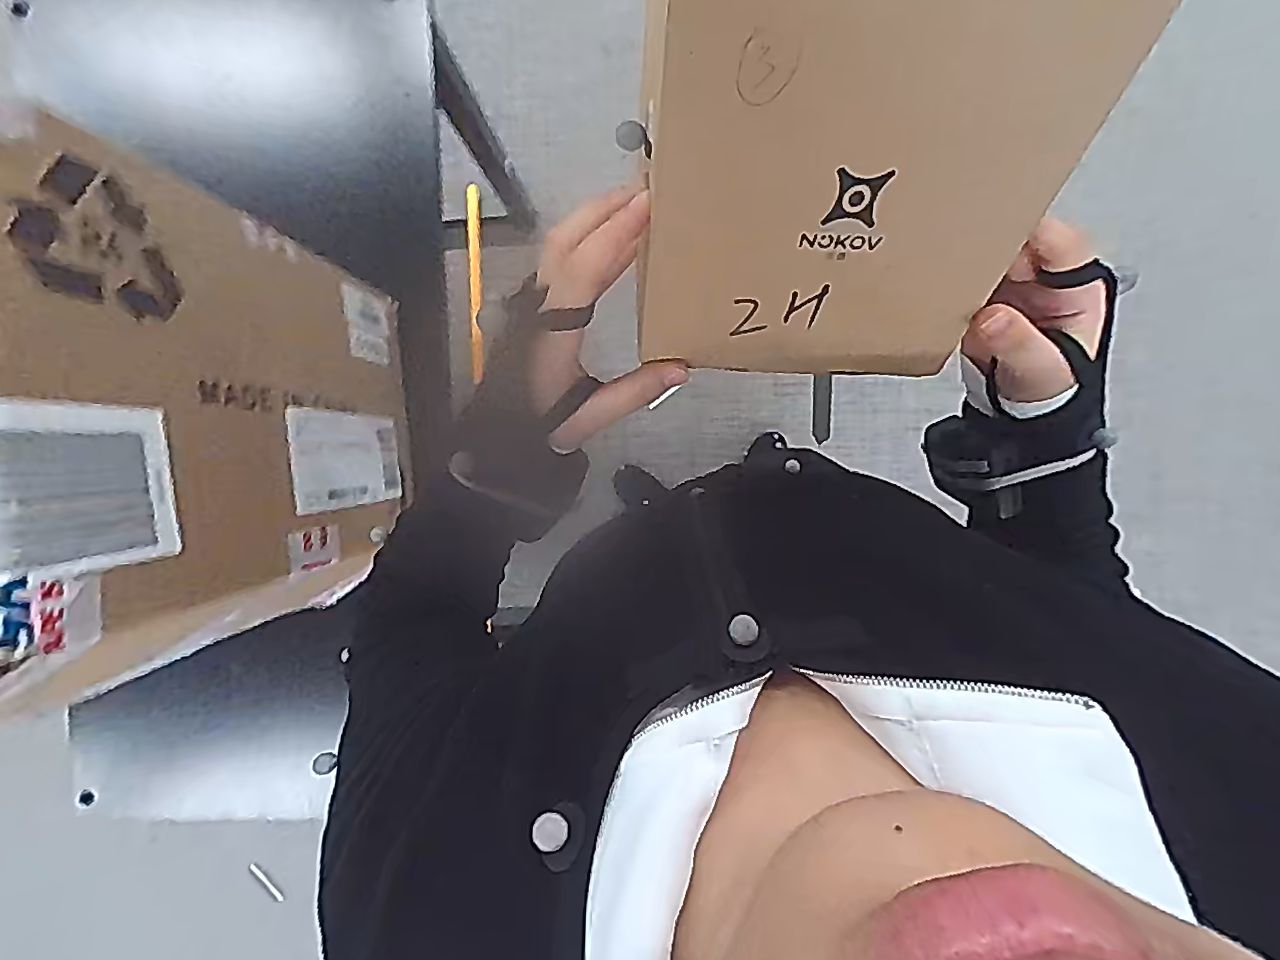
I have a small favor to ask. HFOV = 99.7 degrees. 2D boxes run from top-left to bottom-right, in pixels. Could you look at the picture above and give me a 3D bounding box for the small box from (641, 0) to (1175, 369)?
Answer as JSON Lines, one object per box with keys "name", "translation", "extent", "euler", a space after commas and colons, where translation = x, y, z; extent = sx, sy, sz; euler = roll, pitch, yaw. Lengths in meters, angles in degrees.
{"name": "small box", "translation": [0.089, -0.181, 0.277], "extent": [0.168, 0.179, 0.176], "euler": [3, 53, -3]}
